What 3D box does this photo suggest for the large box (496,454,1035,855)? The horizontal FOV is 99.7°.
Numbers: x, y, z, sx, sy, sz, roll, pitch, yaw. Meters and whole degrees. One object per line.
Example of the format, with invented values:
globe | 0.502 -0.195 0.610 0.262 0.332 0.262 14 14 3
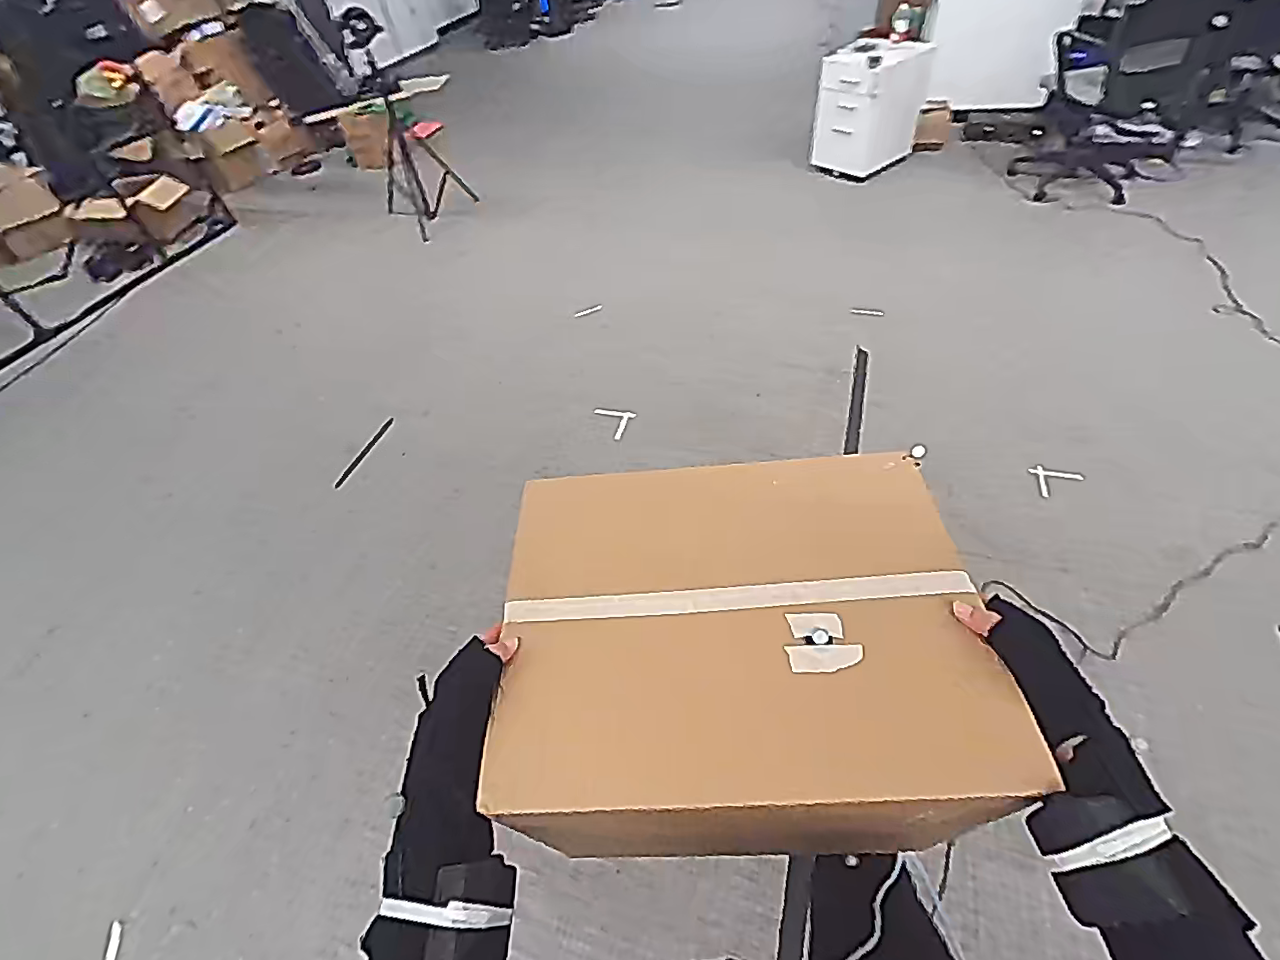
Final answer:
large box | 0.095 0.203 0.601 0.408 0.320 0.320 -5 51 3
